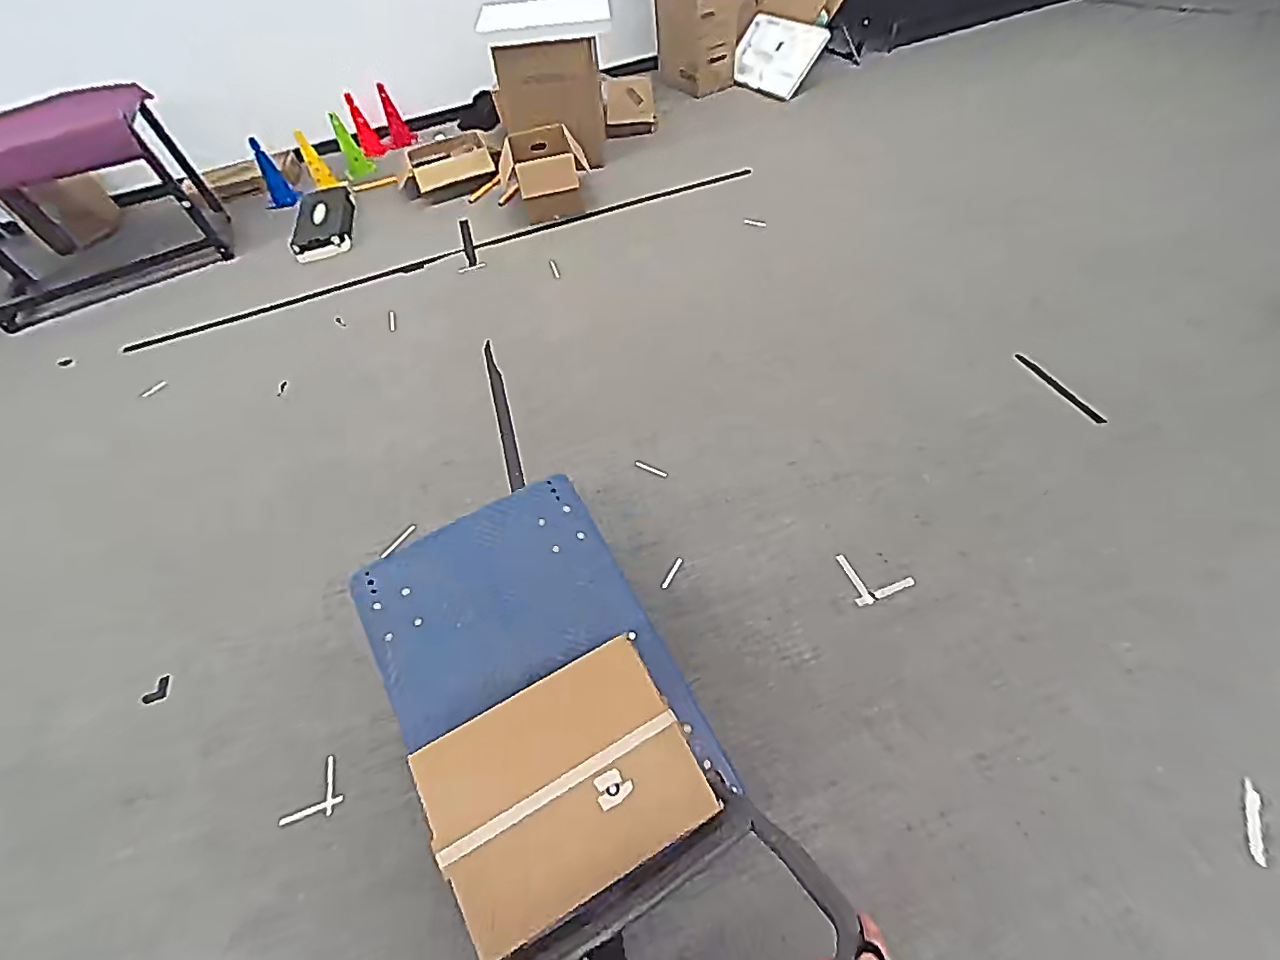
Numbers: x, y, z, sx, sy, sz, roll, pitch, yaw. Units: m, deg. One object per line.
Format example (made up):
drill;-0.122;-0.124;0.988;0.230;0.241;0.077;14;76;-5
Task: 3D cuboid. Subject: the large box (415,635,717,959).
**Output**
large box;-0.126;0.547;1.002;0.408;0.320;0.320;-27;71;-14
